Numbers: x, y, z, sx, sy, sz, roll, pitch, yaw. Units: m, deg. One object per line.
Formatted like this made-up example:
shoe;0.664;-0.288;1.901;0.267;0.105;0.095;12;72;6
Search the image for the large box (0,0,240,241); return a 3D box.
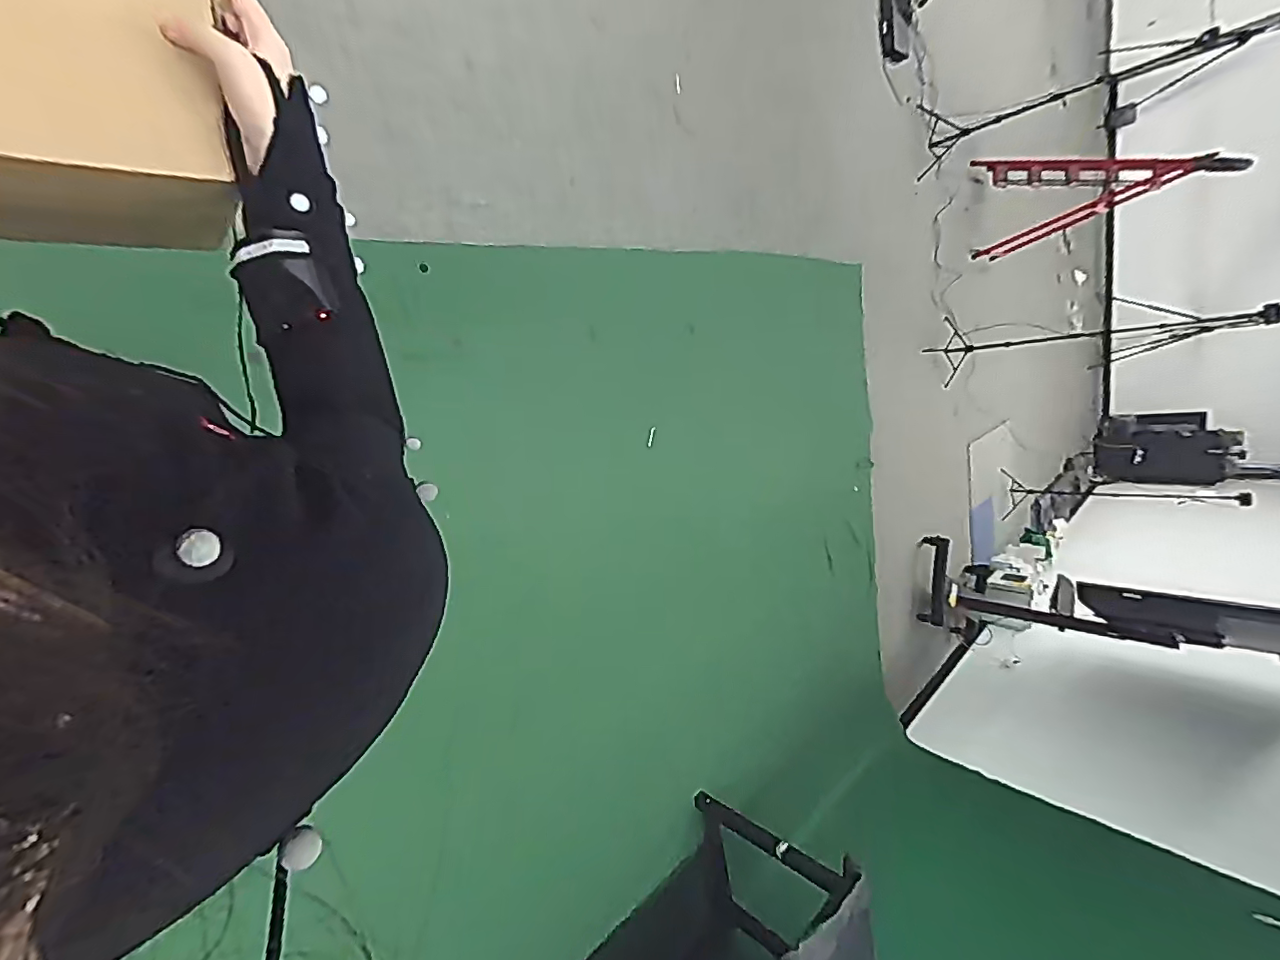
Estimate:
large box;-0.565;-0.360;0.376;0.408;0.320;0.320;-14;108;-37
